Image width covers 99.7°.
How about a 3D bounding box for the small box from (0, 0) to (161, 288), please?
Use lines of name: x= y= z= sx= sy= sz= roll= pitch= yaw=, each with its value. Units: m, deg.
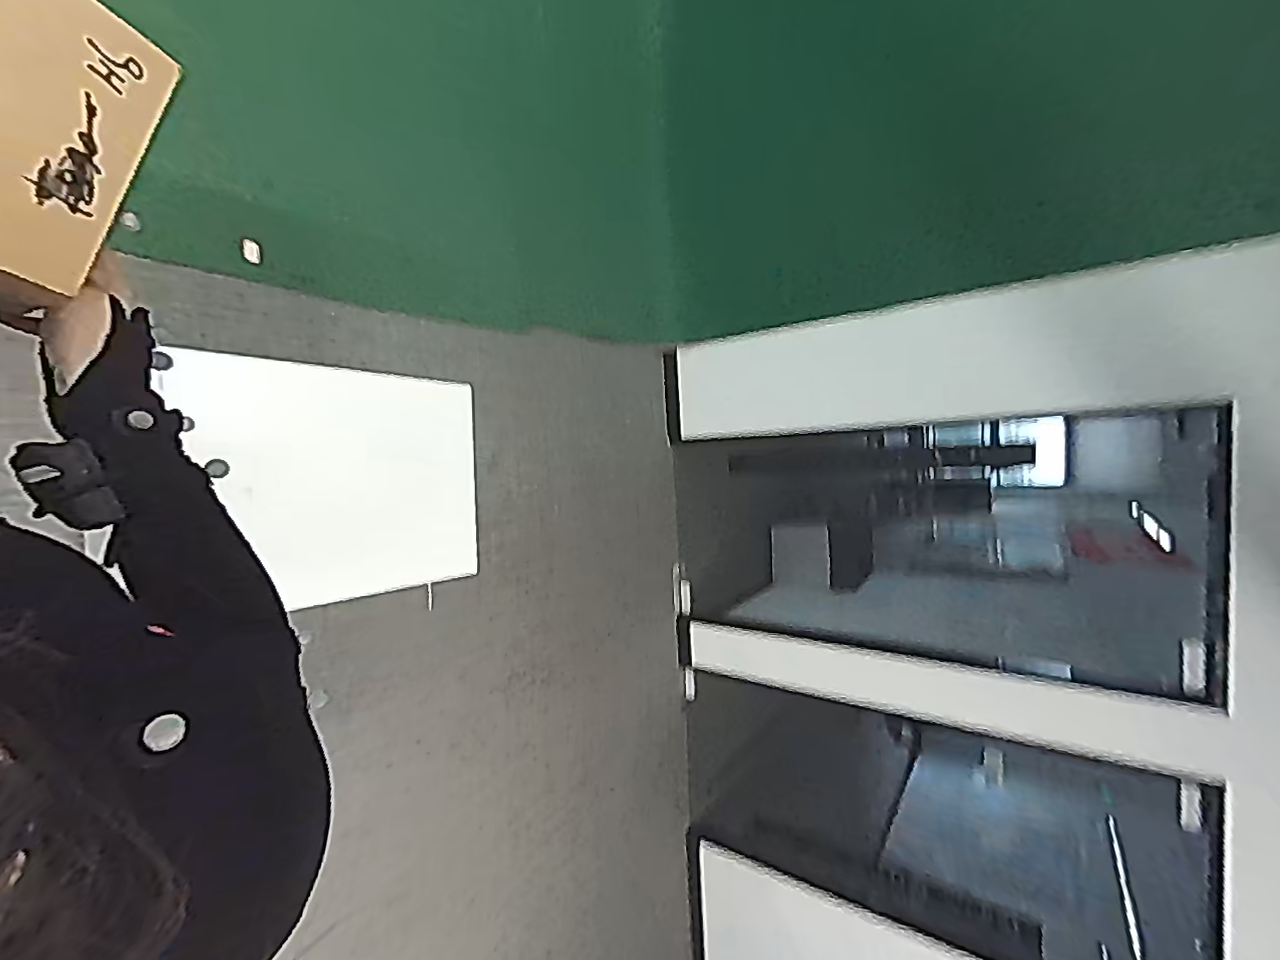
small box: x=-0.423 y=-0.221 z=0.292 sx=0.179 sy=0.176 sz=0.168 roll=27 pitch=73 yaw=-55
